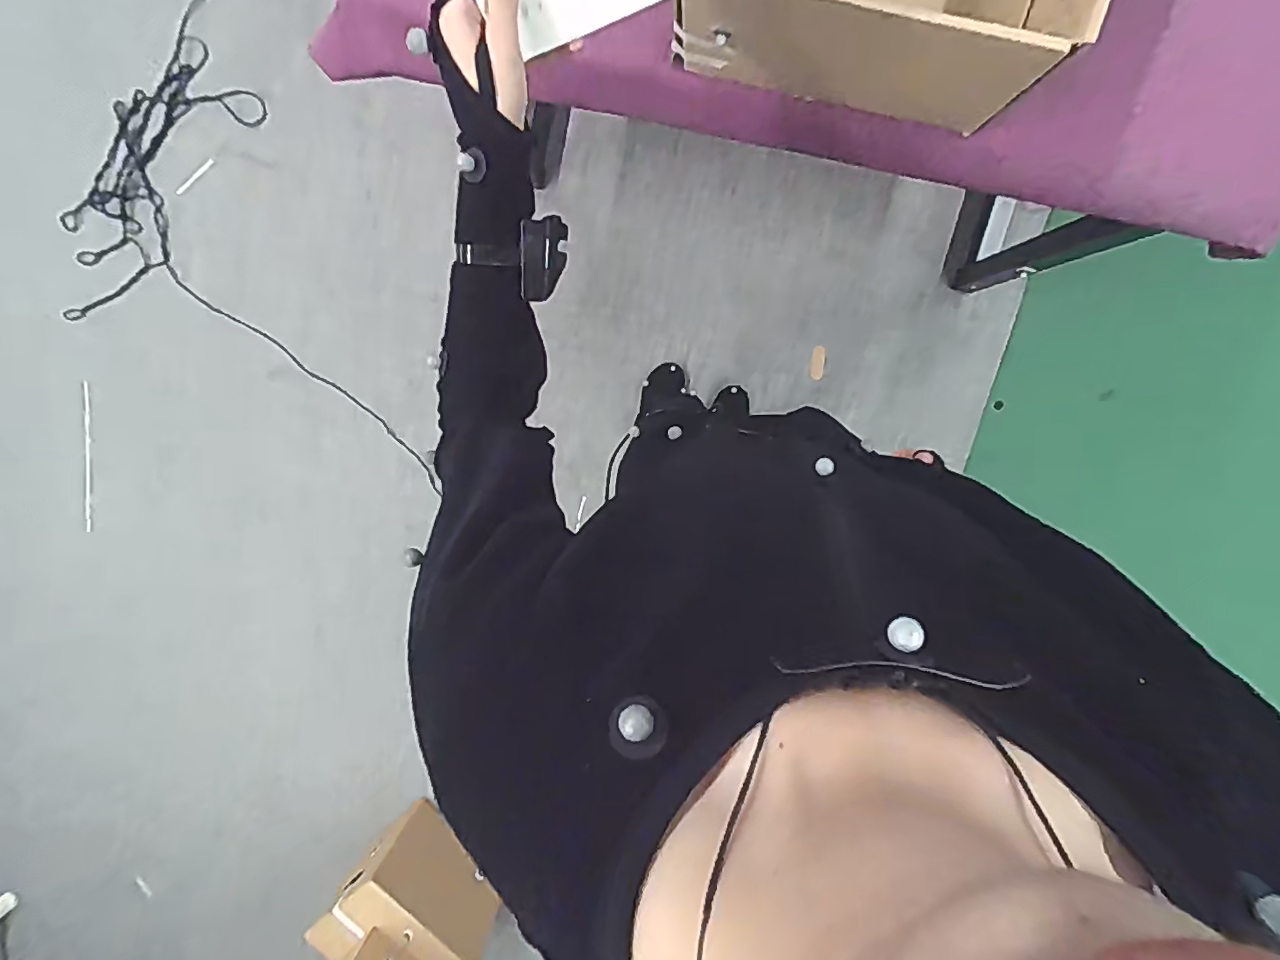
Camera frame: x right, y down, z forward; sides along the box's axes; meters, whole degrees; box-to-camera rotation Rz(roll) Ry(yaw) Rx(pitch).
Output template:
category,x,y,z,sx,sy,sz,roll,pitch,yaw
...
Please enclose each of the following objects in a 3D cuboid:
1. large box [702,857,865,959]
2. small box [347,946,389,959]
category,x,y,z,sx,sy,sz,roll,pitch,yaw
large box,0.393,1.356,1.572,0.408,0.320,0.320,-2,101,3
small box,-0.743,1.371,1.403,0.179,0.176,0.168,42,101,-3
